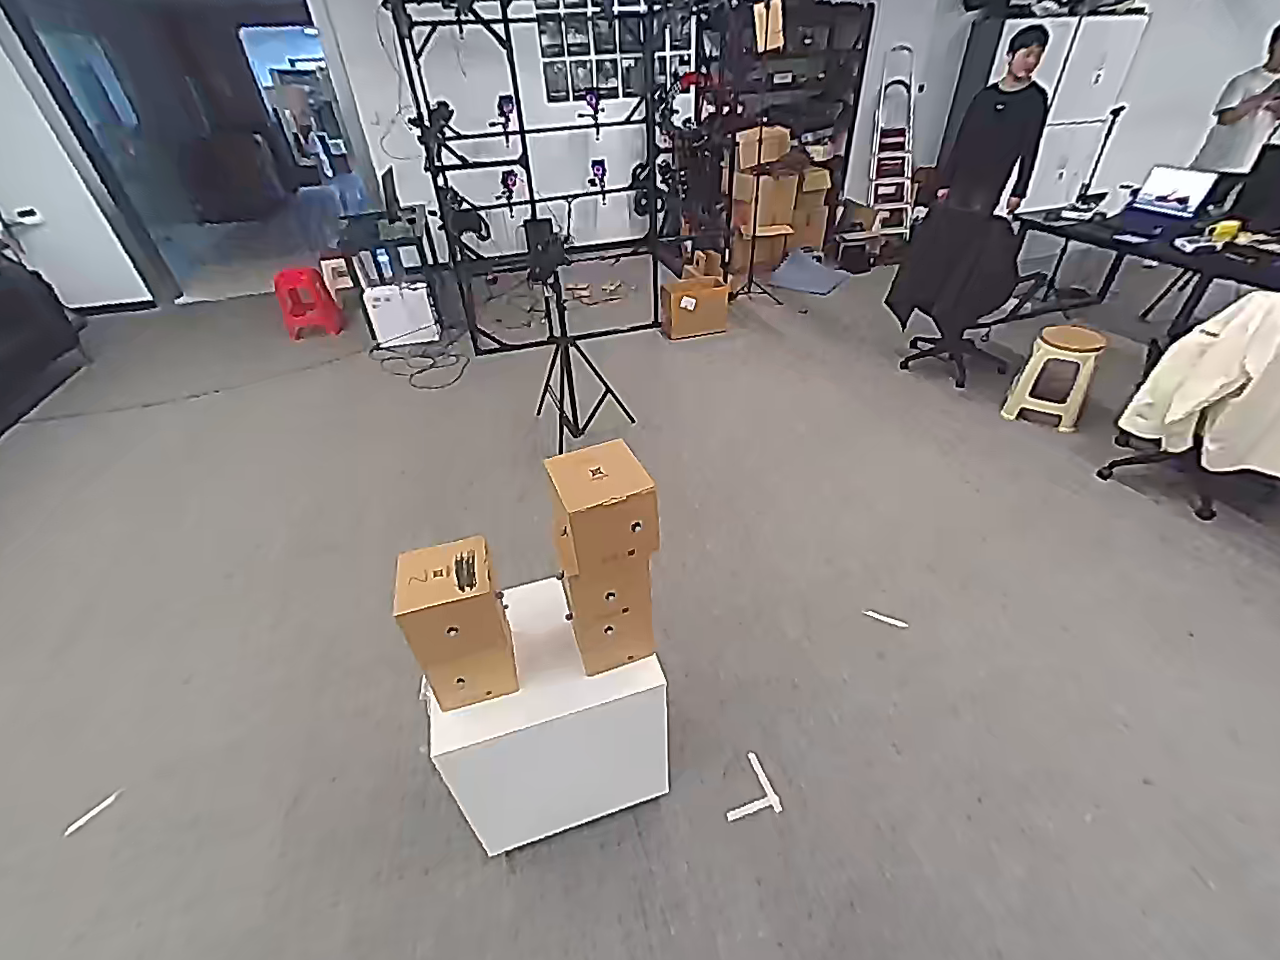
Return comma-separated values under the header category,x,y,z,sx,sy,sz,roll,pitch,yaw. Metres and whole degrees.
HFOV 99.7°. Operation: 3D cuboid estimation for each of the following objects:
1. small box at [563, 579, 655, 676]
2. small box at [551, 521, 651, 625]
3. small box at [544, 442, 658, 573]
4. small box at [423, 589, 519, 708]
category,x,y,z,sx,sy,sz,roll,pitch,yaw
small box,-0.071,0.313,1.242,0.168,0.176,0.179,-15,39,-13
small box,-0.080,0.182,1.141,0.168,0.176,0.179,-14,39,-13
small box,-0.072,0.057,1.036,0.168,0.176,0.179,-17,39,-17
small box,-0.369,0.374,1.189,0.168,0.176,0.179,-12,38,-12
